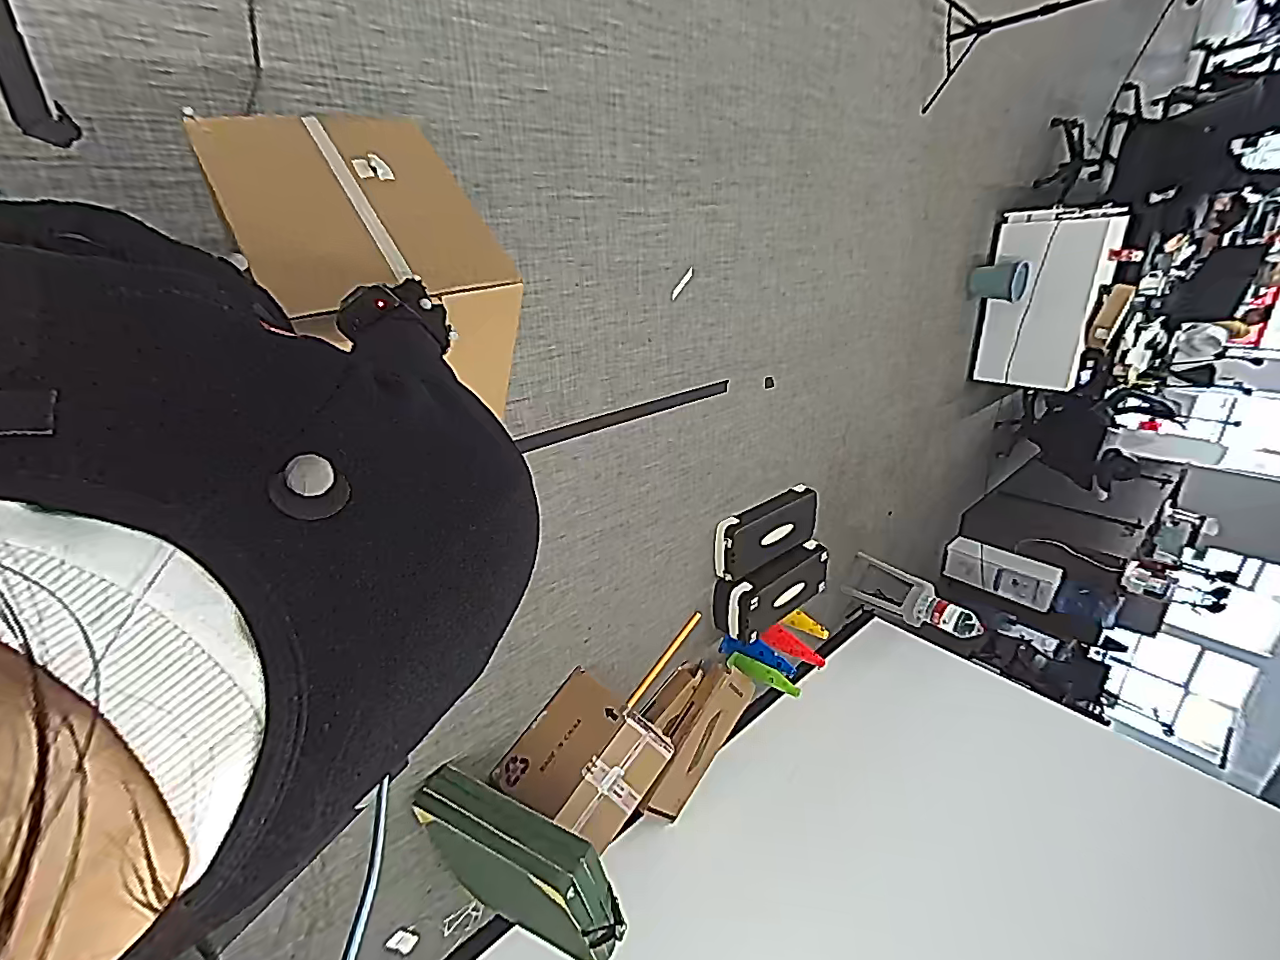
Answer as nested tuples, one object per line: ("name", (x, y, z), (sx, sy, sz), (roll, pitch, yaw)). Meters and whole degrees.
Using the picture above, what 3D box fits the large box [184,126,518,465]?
("large box", (-0.443, -0.301, 0.879), (0.320, 0.408, 0.320), (-24, 158, -32))
